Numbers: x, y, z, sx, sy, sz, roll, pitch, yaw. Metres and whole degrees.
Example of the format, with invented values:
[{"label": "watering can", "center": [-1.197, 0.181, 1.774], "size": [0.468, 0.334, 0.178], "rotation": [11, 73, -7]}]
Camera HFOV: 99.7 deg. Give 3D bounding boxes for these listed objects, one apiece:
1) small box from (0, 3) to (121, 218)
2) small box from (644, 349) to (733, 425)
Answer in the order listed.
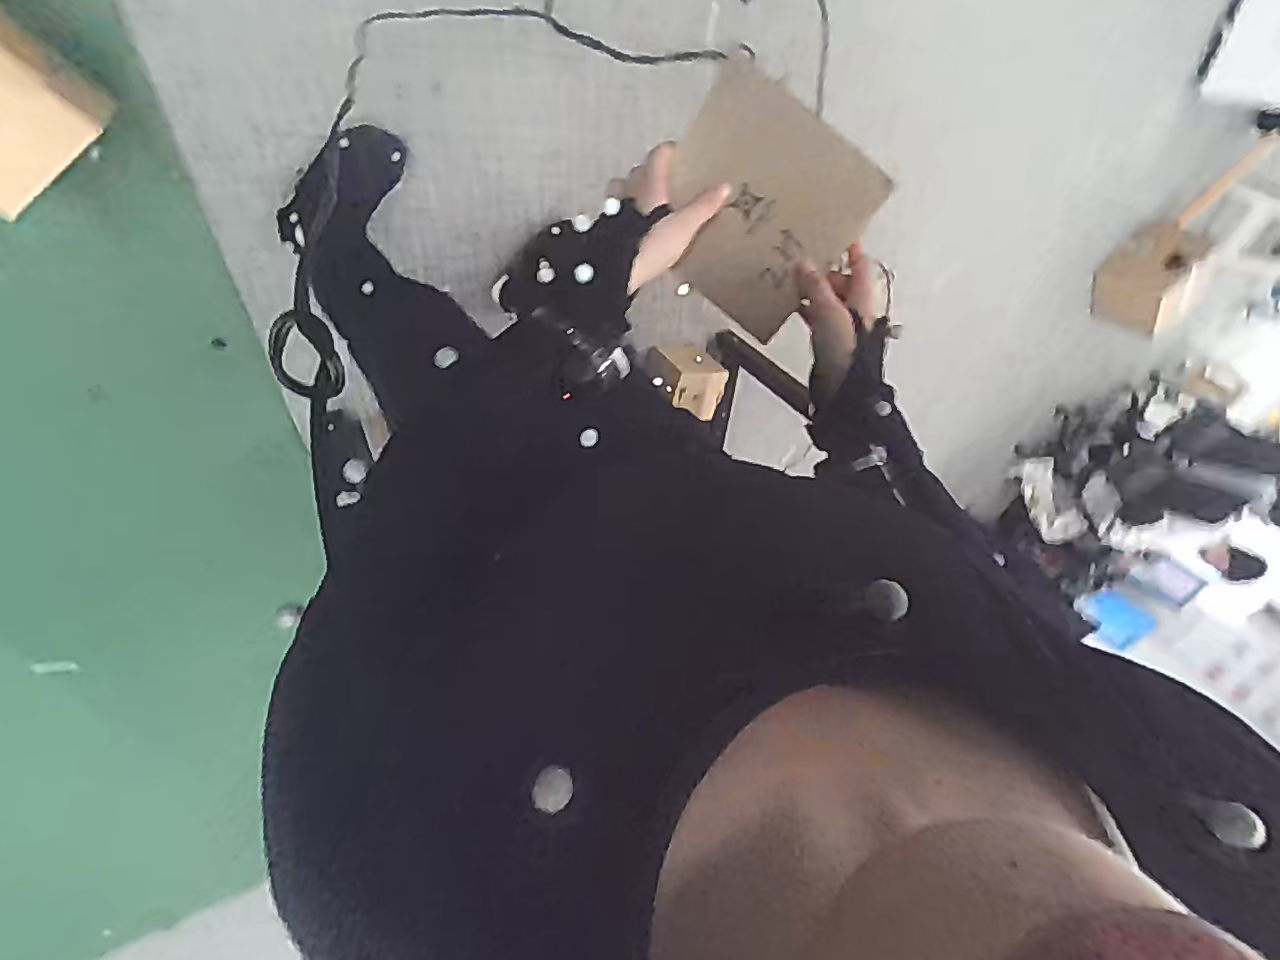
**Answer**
[{"label": "small box", "center": [-0.831, -0.486, 0.704], "size": [0.179, 0.176, 0.168], "rotation": [-41, 140, 3]}, {"label": "small box", "center": [0.140, -0.281, 1.619], "size": [0.179, 0.176, 0.168], "rotation": [-8, 132, -32]}]
